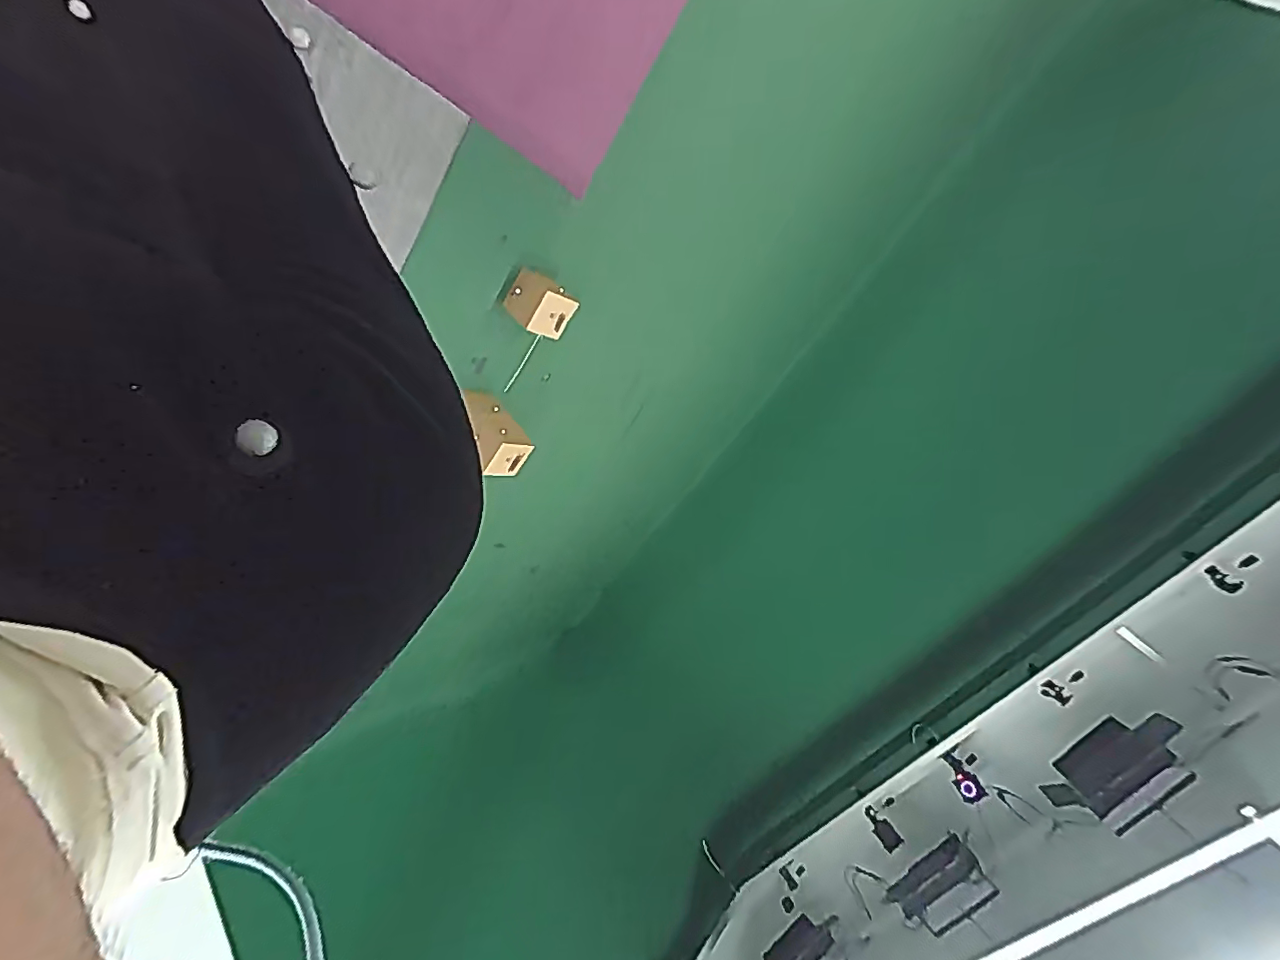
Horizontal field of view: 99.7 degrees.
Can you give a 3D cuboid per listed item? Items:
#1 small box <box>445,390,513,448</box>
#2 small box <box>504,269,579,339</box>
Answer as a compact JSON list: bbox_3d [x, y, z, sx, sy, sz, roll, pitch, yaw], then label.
[{"bbox_3d":[-0.666,-0.252,2.233,0.168,0.176,0.179,-51,155,20],"label":"small box"},{"bbox_3d":[-0.368,-0.655,2.010,0.179,0.176,0.168,0,132,-56],"label":"small box"}]
